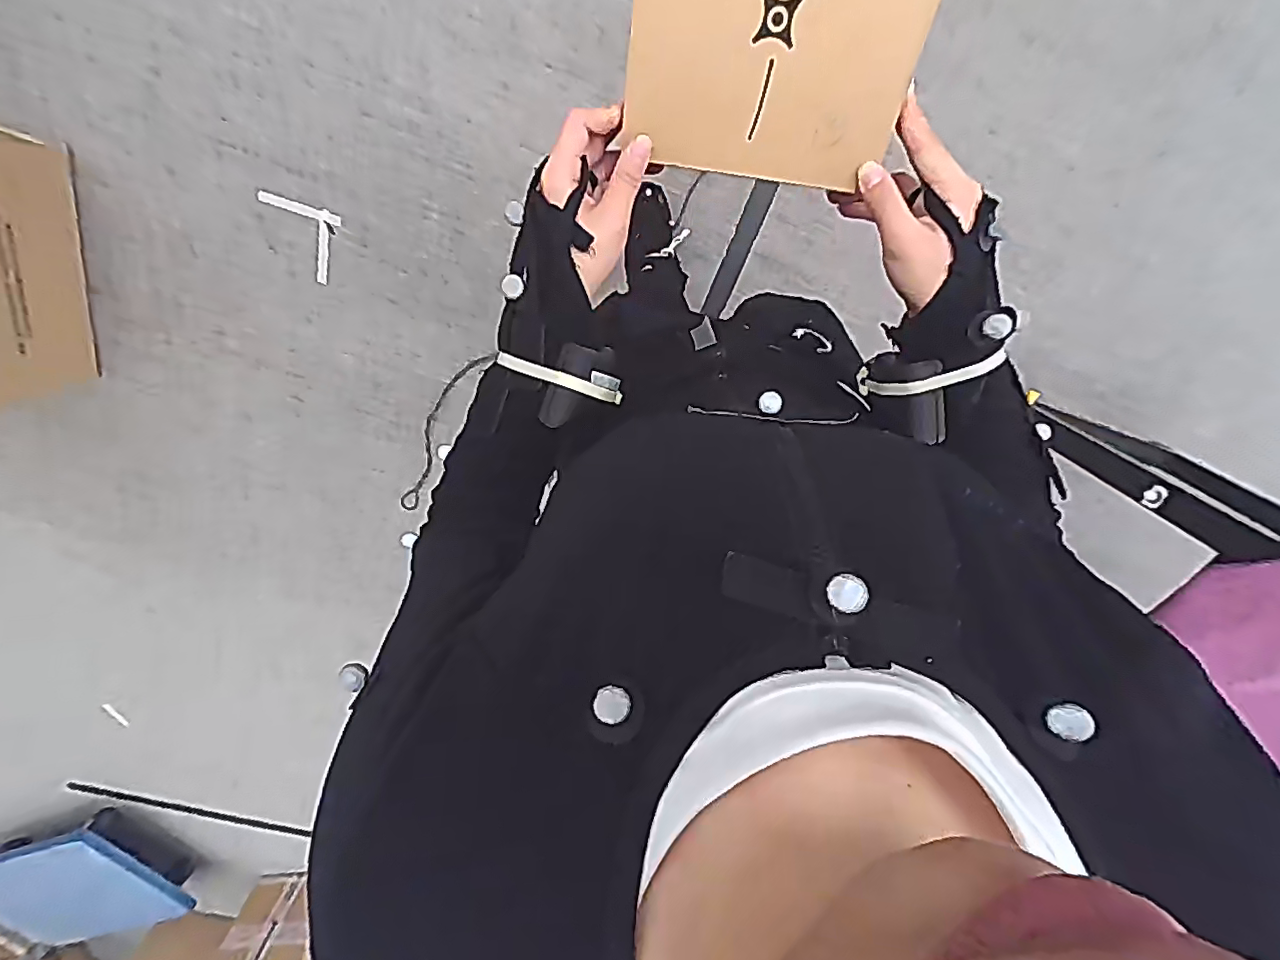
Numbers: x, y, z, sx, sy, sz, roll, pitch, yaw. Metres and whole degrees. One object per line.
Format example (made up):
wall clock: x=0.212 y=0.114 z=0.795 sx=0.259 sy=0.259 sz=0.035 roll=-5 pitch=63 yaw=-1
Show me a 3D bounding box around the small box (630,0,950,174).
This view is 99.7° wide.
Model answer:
small box: x=0.089 y=-0.320 z=0.343 sx=0.168 sy=0.176 sz=0.179 roll=8 pitch=130 yaw=-2
